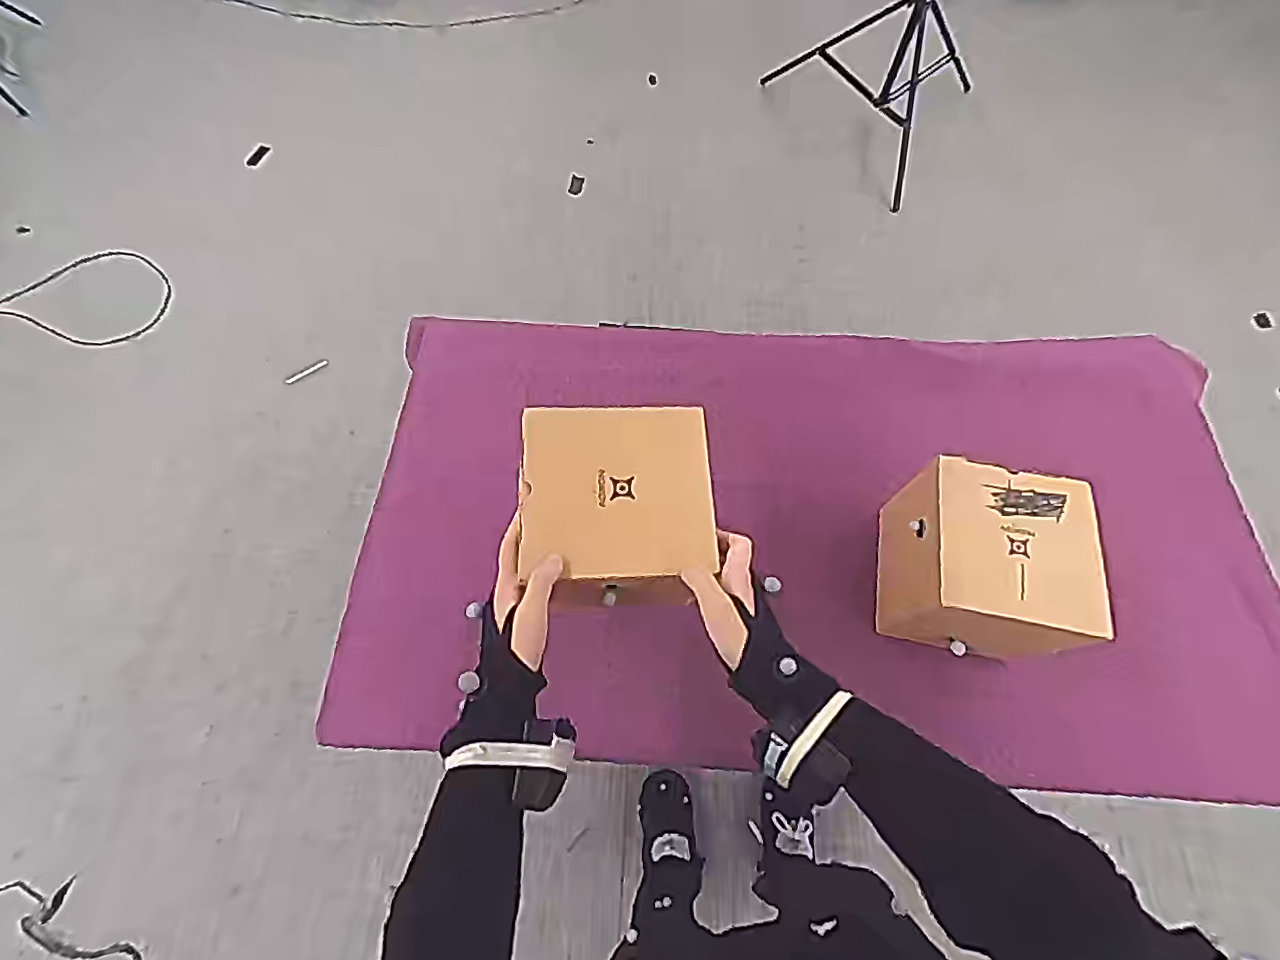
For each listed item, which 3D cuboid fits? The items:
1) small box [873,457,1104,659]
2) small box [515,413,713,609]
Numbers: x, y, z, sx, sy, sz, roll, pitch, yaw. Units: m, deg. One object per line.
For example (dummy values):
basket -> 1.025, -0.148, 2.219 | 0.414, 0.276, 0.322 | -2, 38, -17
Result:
small box -> 0.392, 0.100, 0.643 | 0.168, 0.176, 0.179 | 11, 66, 5
small box -> -0.031, 0.041, 0.572 | 0.179, 0.176, 0.168 | -1, 69, -5
